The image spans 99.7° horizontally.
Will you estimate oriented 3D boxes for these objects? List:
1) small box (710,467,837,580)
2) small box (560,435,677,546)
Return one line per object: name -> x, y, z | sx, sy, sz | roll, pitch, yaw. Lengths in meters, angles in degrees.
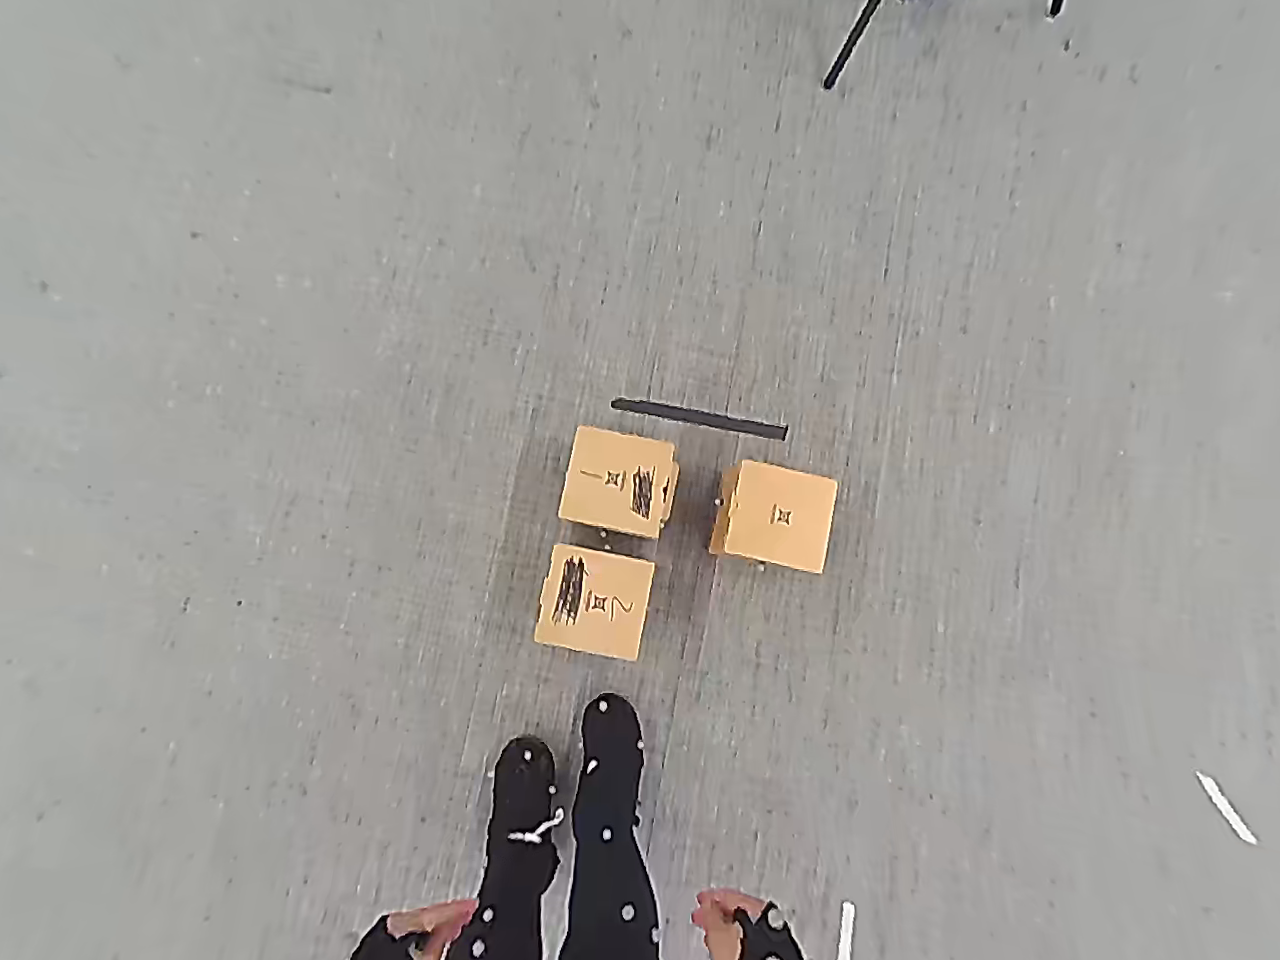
small box -> 0.241, 0.084, 1.012 | 0.179, 0.176, 0.168 | 13, 82, 1
small box -> -0.037, 0.026, 1.011 | 0.179, 0.176, 0.168 | 11, 82, 1
